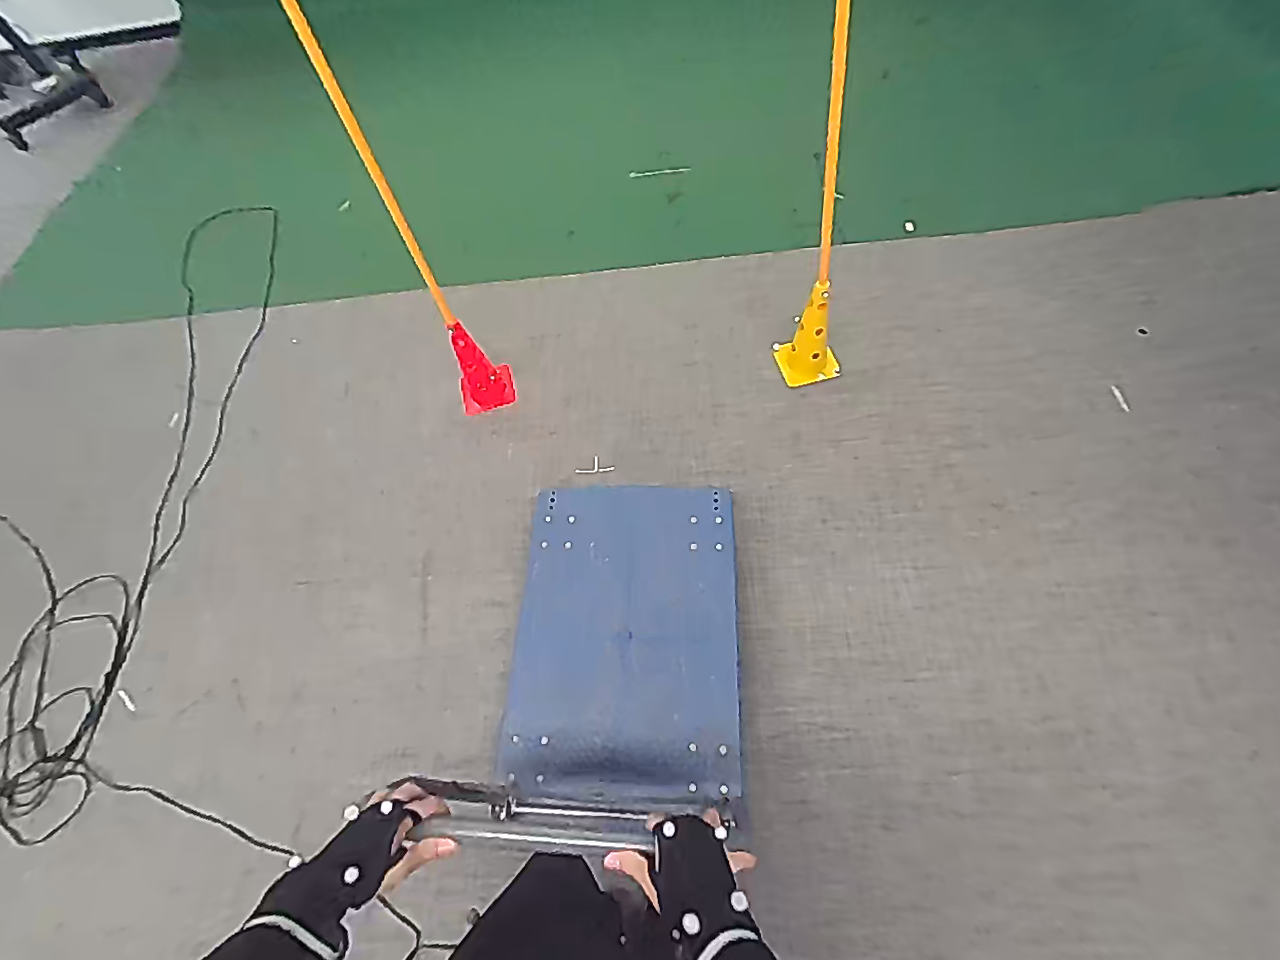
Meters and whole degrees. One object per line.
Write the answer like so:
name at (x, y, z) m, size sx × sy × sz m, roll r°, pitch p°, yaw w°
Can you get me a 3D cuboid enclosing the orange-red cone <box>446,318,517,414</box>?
orange-red cone at (-0.592, -0.428, 1.905) m, size 0.199 × 0.360 × 0.198 m, roll -17°, pitch 60°, yaw -1°
